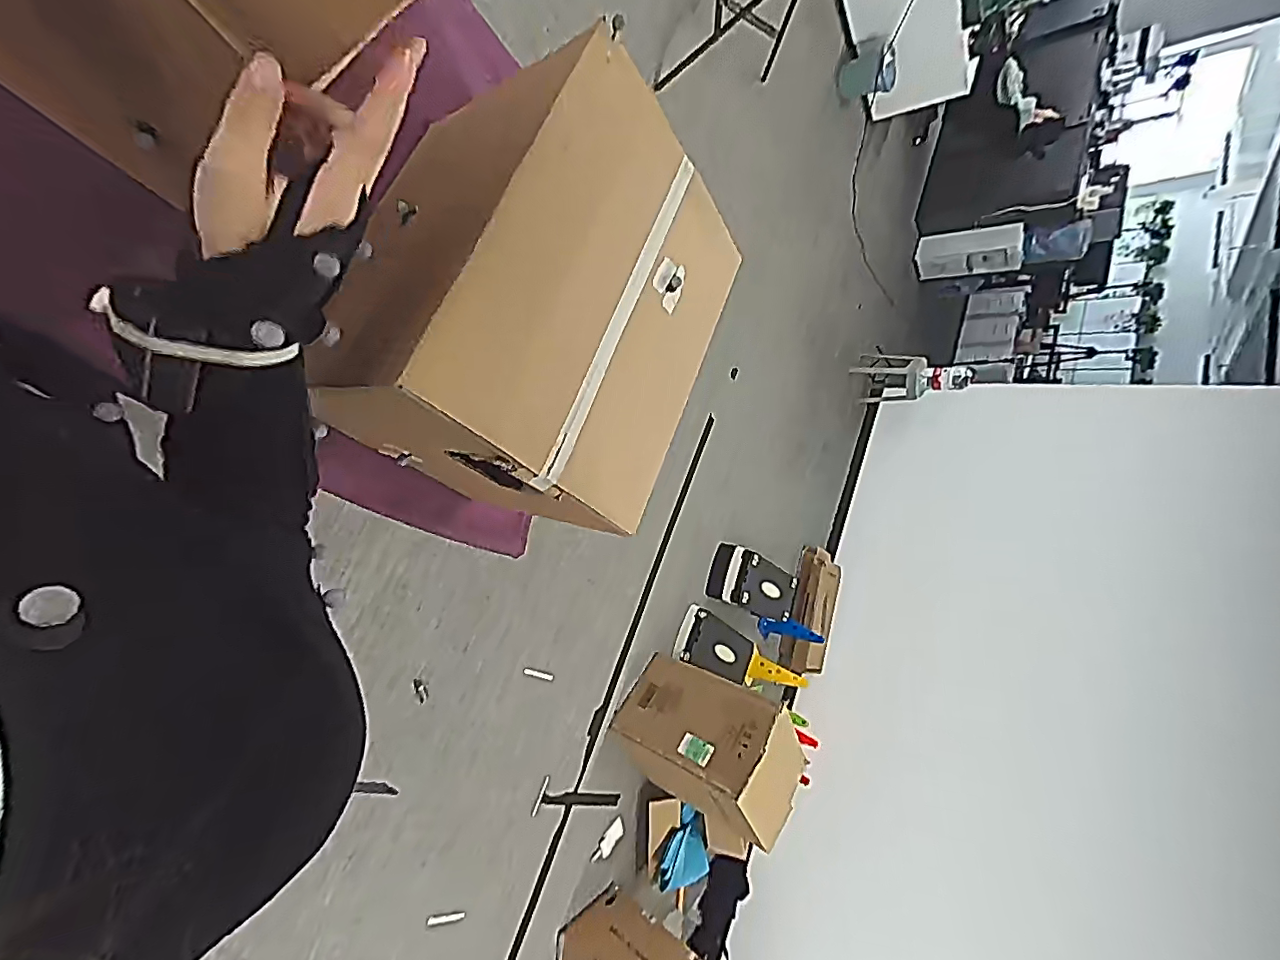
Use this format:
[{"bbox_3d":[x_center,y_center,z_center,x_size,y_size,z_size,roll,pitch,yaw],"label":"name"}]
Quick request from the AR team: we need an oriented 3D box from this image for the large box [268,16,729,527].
[{"bbox_3d":[-0.143,-0.198,0.643,0.320,0.320,0.408,39,65,-48],"label":"large box"}]
